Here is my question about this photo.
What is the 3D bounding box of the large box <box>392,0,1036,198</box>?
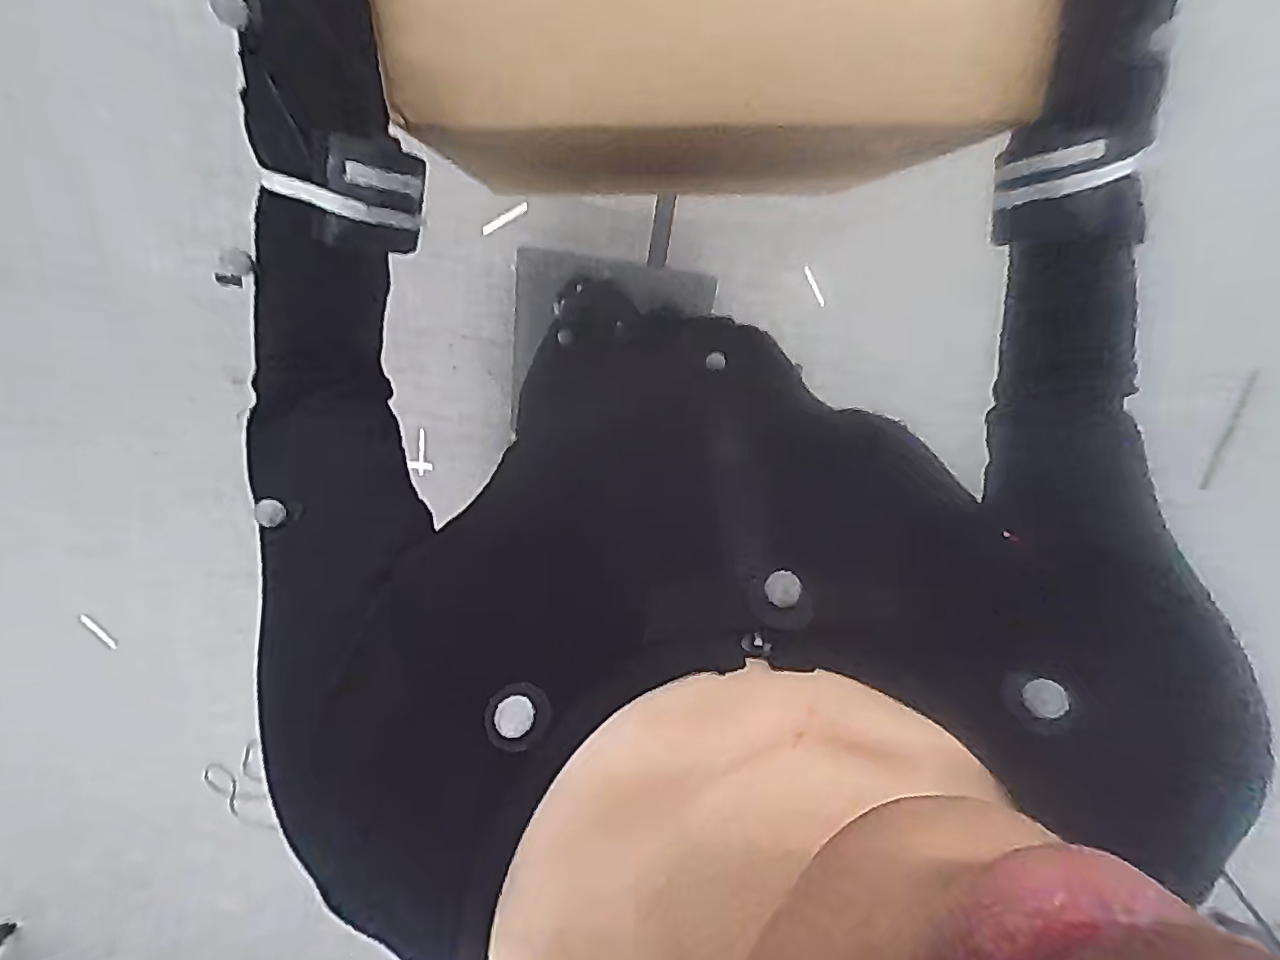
[{"bbox_3d":[0.037,-0.426,0.436,0.408,0.320,0.320,-2,111,-3],"label":"large box"}]
